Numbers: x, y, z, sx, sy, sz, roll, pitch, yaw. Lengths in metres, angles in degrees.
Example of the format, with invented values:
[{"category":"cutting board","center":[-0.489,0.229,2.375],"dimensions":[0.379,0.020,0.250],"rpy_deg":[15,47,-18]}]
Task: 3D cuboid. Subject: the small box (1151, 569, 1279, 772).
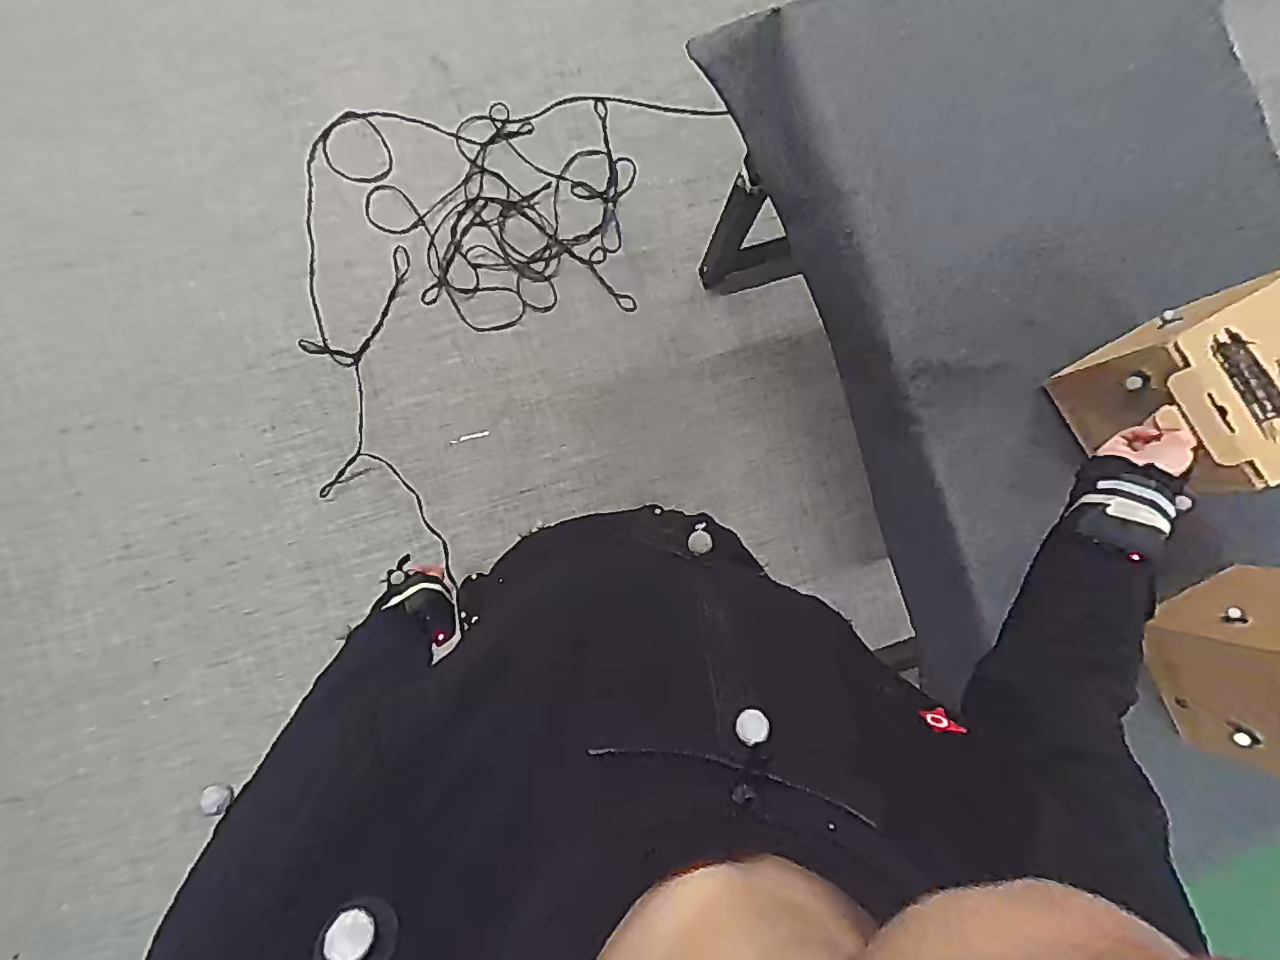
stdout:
[{"category":"small box","center":[0.729,0.213,0.598],"dimensions":[0.179,0.176,0.168],"rpy_deg":[-25,90,-7]}]
